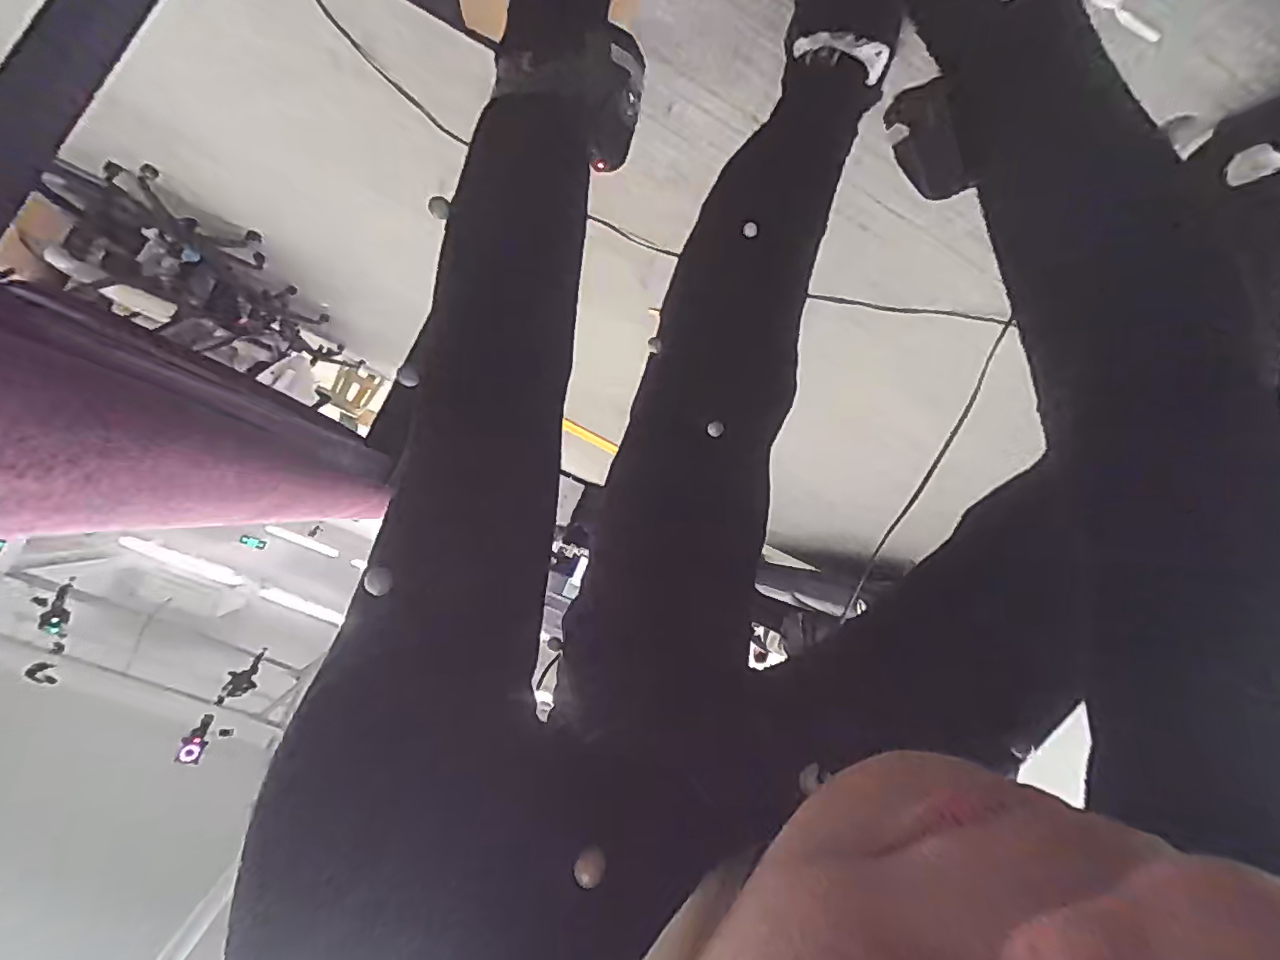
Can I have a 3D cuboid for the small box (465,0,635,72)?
[{"bbox_3d":[-0.080,-0.589,0.555,0.179,0.176,0.168,24,172,-3],"label":"small box"}]
